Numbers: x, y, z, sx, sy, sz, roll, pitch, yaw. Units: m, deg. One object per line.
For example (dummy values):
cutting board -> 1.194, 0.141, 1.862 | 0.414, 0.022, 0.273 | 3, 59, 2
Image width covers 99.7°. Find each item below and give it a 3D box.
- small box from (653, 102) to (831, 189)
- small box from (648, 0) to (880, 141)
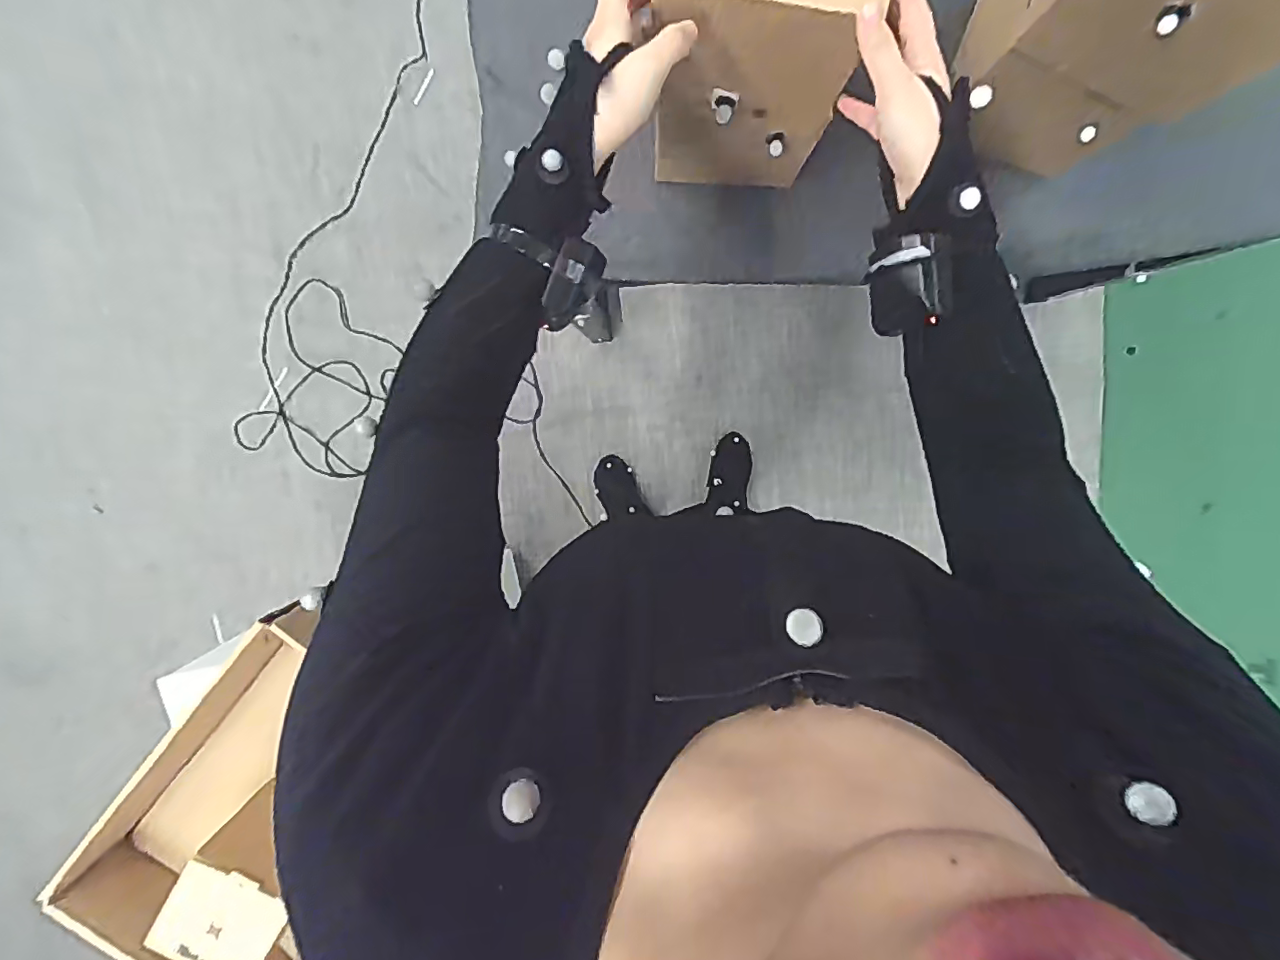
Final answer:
small box -> 0.107, -0.445, 0.603 | 0.179, 0.176, 0.168 | 3, 97, 2
small box -> 0.099, -0.419, 0.442 | 0.168, 0.176, 0.179 | 10, 99, 1
